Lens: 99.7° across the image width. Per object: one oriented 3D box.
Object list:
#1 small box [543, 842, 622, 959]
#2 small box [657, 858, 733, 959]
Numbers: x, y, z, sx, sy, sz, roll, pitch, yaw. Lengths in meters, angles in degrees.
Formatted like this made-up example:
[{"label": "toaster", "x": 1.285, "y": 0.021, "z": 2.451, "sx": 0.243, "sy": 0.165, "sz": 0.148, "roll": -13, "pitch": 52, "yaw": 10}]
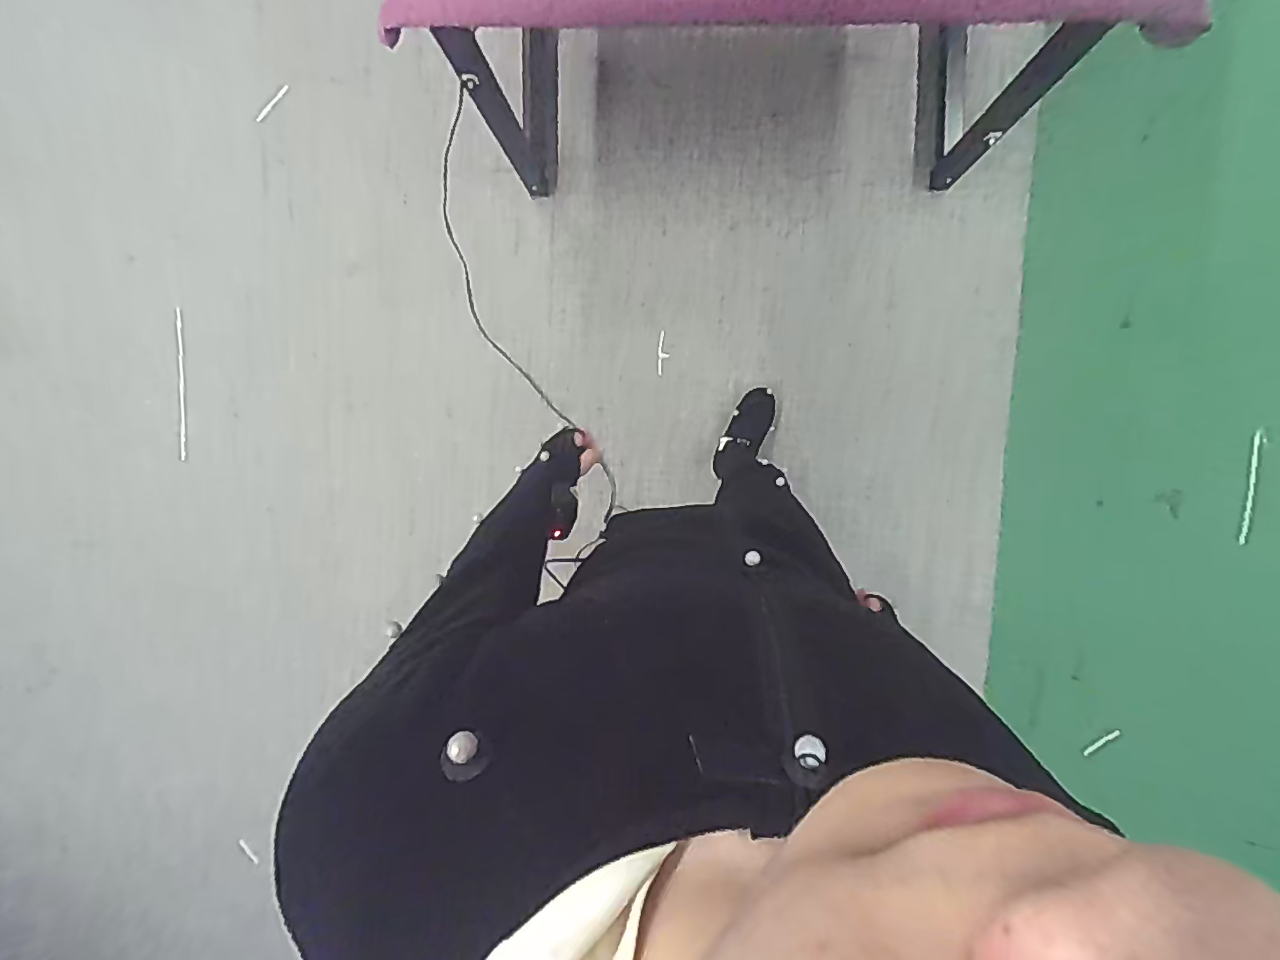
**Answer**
[{"label": "small box", "x": -0.140, "y": 1.073, "z": 1.385, "sx": 0.168, "sy": 0.176, "sz": 0.179, "roll": 9, "pitch": 95, "yaw": 2}, {"label": "small box", "x": 0.139, "y": 1.114, "z": 1.369, "sx": 0.168, "sy": 0.176, "sz": 0.179, "roll": 7, "pitch": 95, "yaw": 5}]
